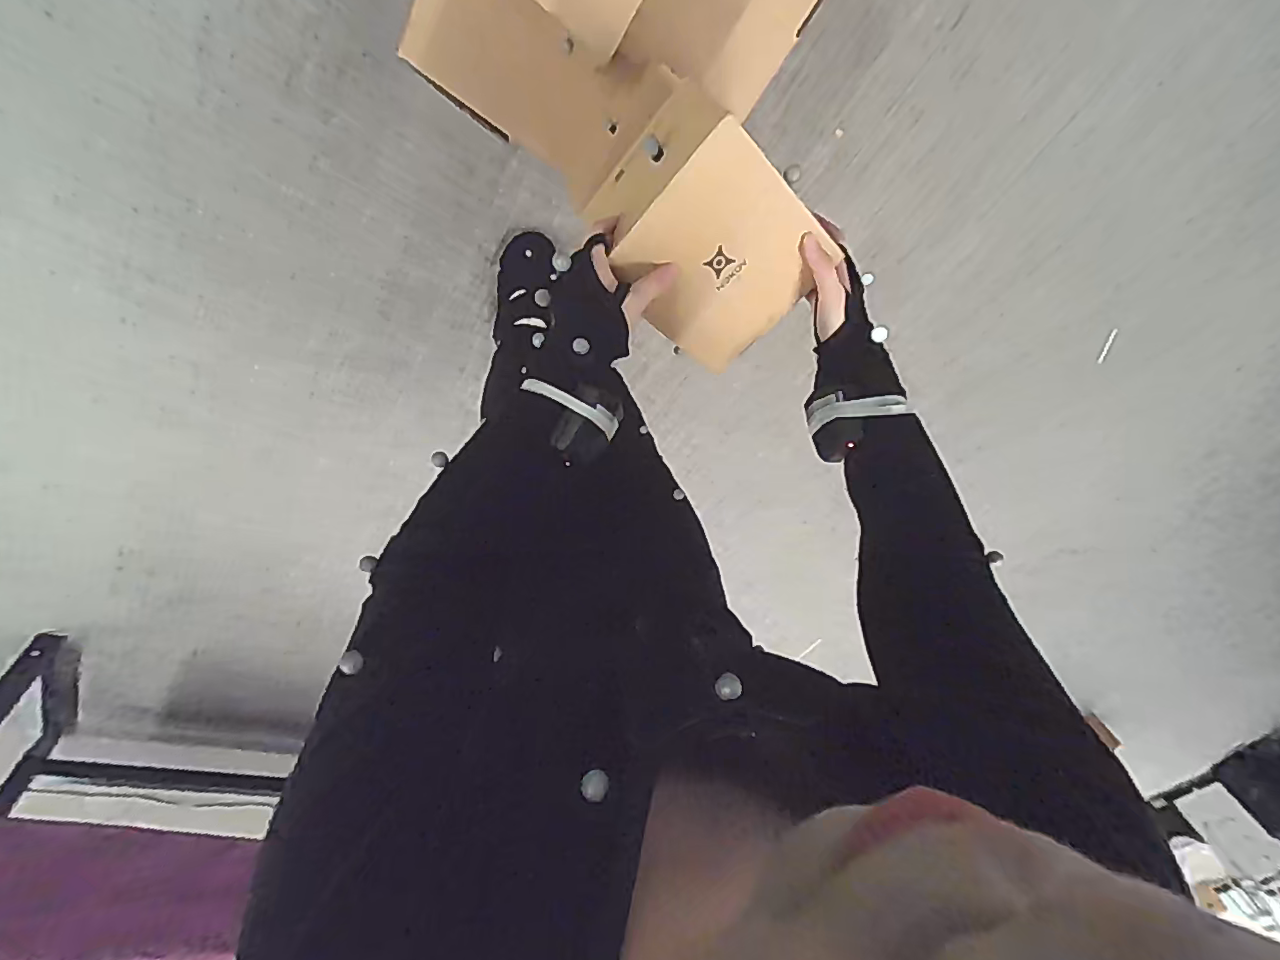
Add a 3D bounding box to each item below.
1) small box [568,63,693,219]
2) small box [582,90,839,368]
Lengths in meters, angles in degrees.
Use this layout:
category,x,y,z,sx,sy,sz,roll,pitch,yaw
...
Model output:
category,x,y,z,sx,sy,sz,roll,pitch,yaw
small box,0.019,-0.389,0.692,0.168,0.176,0.179,26,118,-28
small box,0.058,-0.255,0.549,0.179,0.176,0.168,28,122,-34
